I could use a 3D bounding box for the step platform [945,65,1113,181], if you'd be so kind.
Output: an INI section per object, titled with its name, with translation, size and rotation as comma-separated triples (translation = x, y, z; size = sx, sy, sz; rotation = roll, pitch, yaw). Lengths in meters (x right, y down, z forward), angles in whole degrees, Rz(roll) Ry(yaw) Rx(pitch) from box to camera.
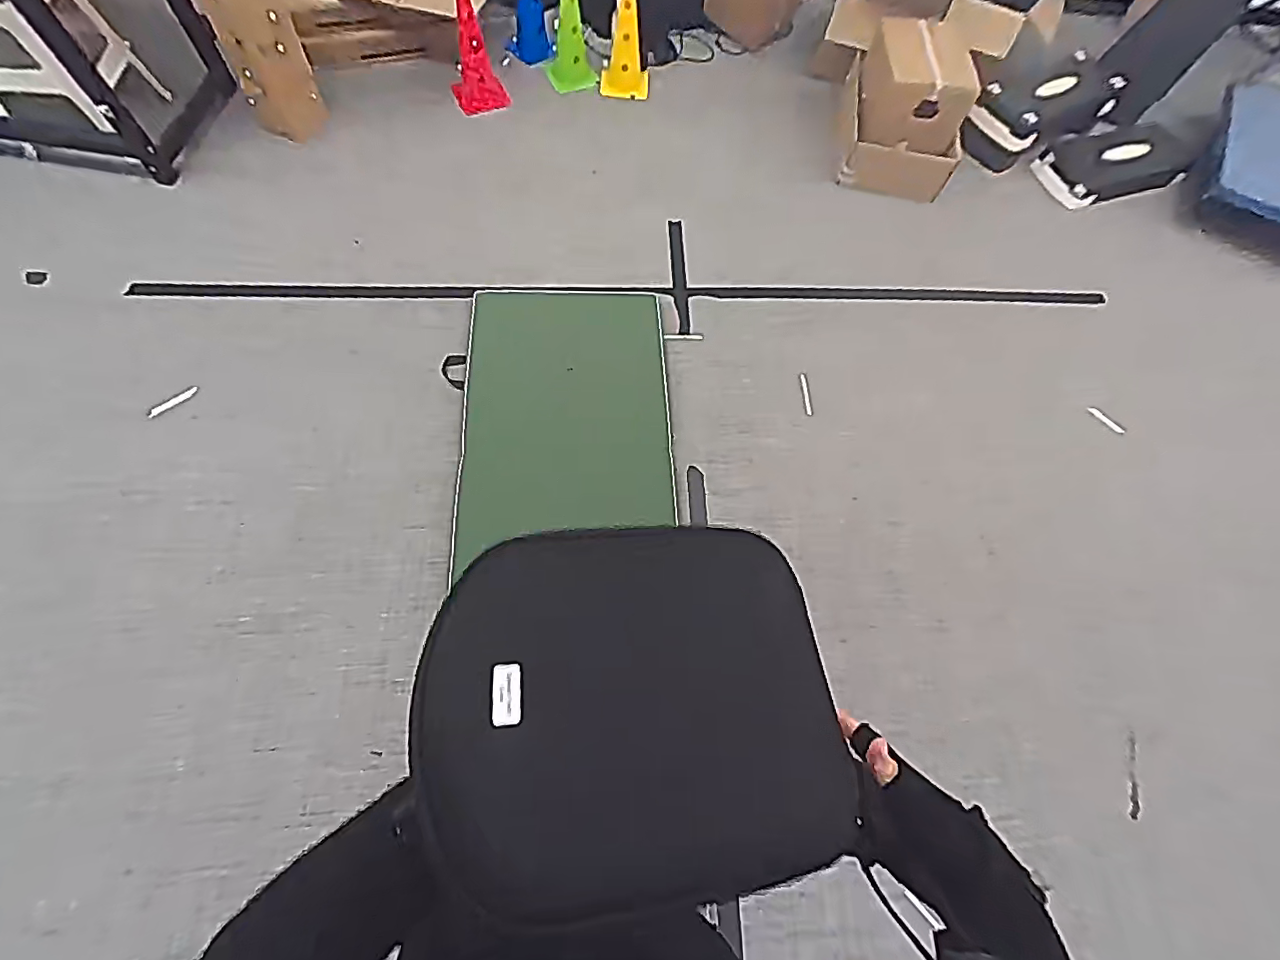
[step platform]
translation = 1.671, -1.536, 2.316
size = 0.684, 0.204, 0.286
rotation = -29, 72, -16
